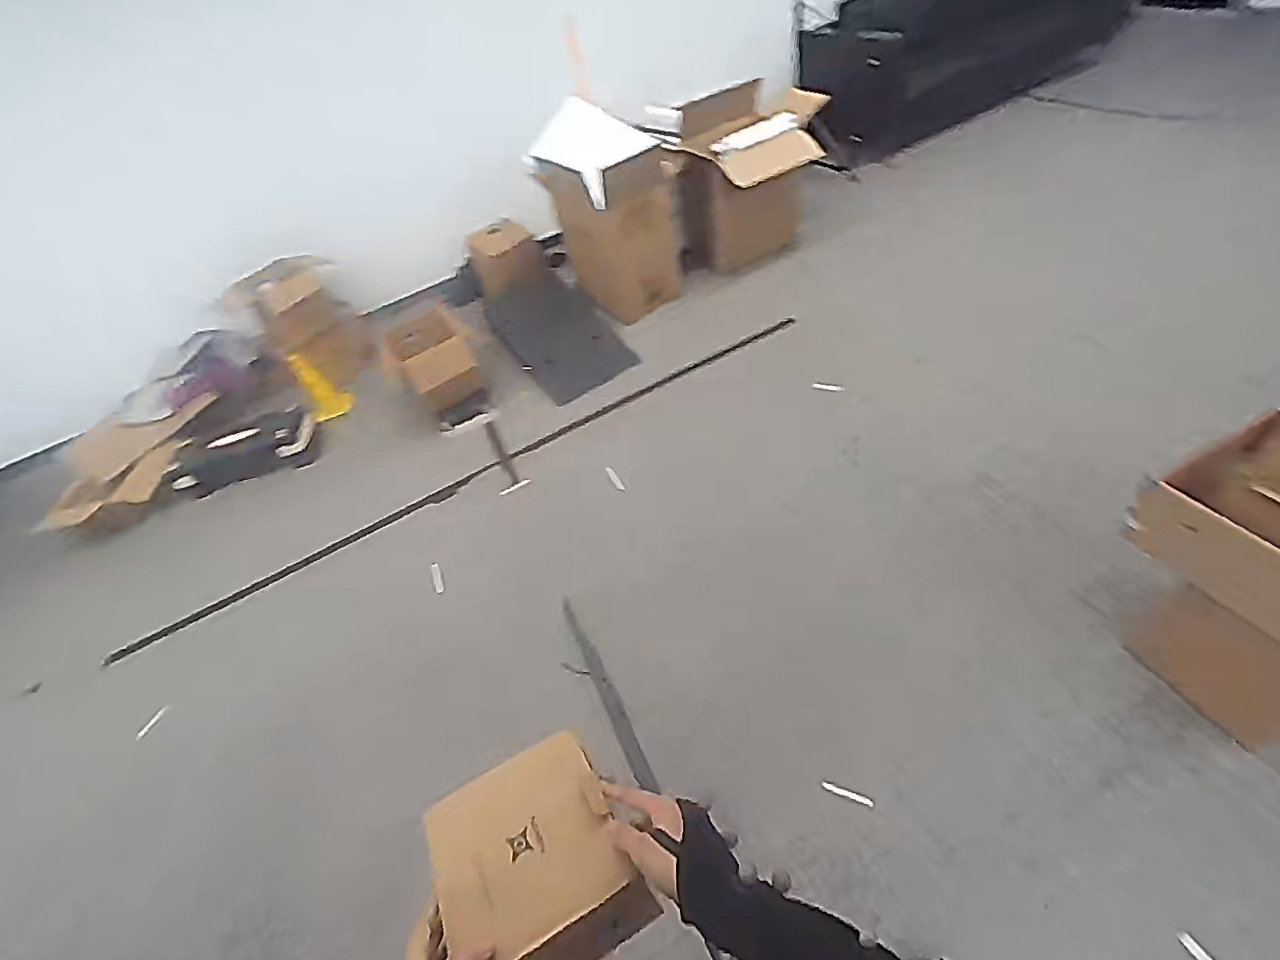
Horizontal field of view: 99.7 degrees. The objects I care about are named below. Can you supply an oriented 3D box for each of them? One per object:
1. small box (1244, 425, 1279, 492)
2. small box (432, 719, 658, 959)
[{"bbox_3d":[1.316,-0.064,1.010,0.179,0.176,0.168,-29,47,-11],"label":"small box"},{"bbox_3d":[-0.092,0.399,0.571,0.179,0.176,0.168,-25,42,-14],"label":"small box"}]
